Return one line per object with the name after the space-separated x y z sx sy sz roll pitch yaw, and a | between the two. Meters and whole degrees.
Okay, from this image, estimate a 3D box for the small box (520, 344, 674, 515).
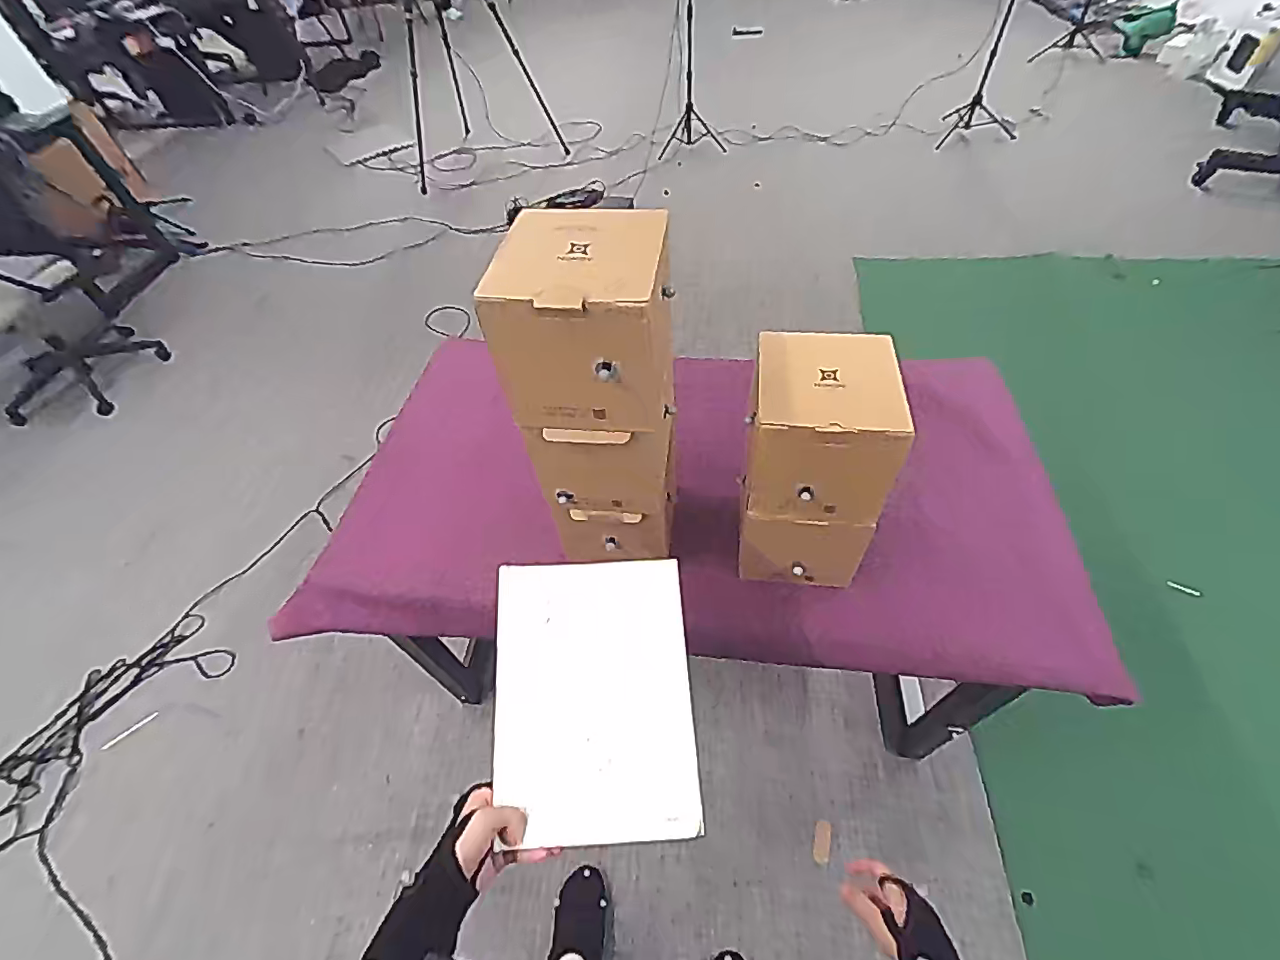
-0.044 -0.070 0.735 0.168 0.176 0.179 4 51 8 | small box

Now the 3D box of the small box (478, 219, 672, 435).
-0.055 -0.169 0.606 0.168 0.176 0.179 5 51 8 | small box

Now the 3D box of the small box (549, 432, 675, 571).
-0.033 0.029 0.867 0.168 0.176 0.179 4 52 7 | small box

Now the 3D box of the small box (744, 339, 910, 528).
0.227 -0.060 0.706 0.168 0.176 0.179 4 51 8 | small box
